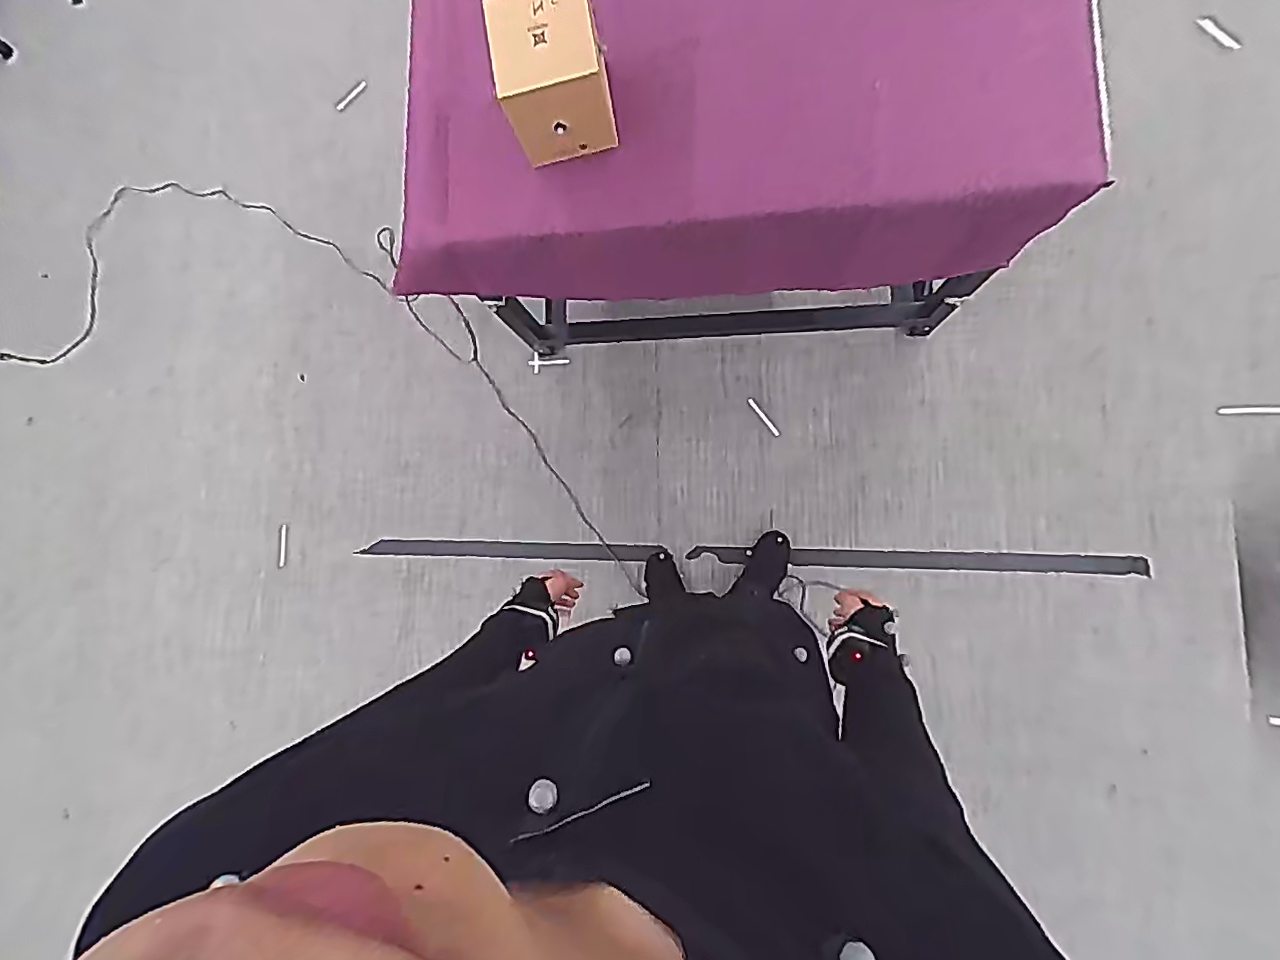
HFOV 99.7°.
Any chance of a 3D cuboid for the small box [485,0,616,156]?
[{"bbox_3d":[-0.143,-0.684,0.913,0.168,0.176,0.179,-9,84,6],"label":"small box"}]
